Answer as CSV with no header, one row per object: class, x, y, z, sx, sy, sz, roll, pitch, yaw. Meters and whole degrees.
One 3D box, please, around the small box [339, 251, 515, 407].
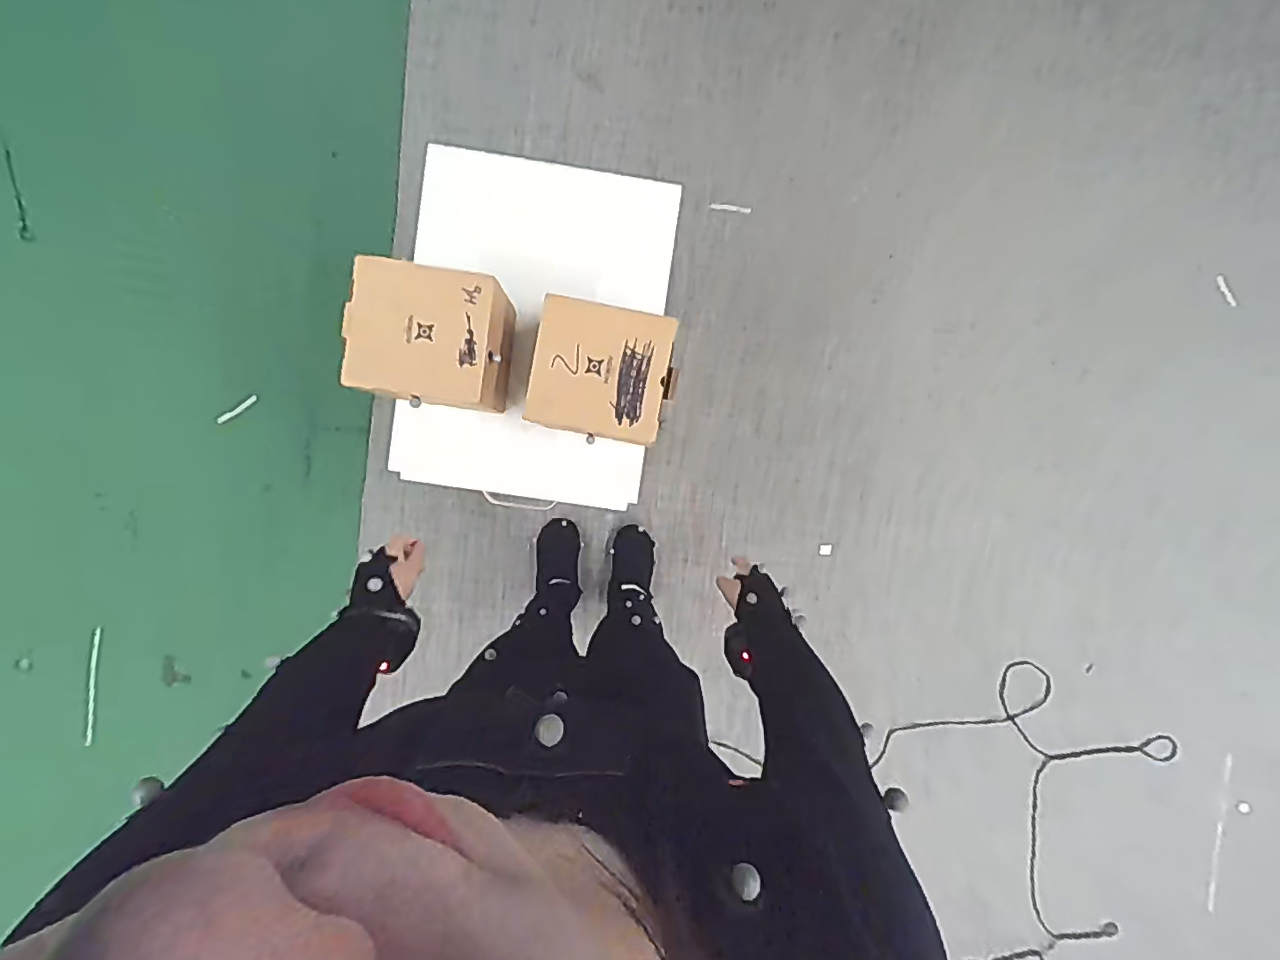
small box,-0.286,-0.199,0.760,0.179,0.176,0.168,8,93,-4
